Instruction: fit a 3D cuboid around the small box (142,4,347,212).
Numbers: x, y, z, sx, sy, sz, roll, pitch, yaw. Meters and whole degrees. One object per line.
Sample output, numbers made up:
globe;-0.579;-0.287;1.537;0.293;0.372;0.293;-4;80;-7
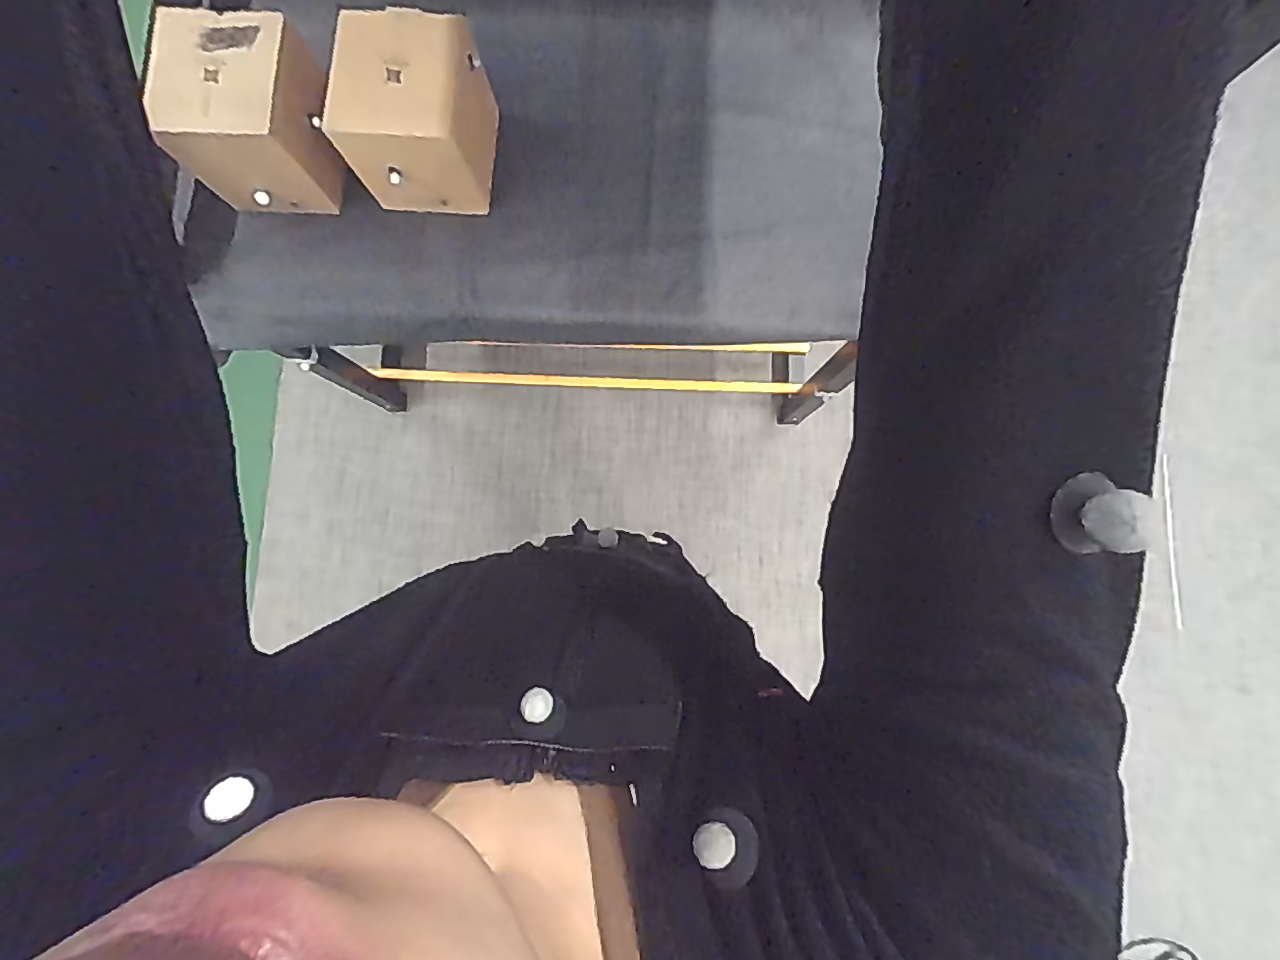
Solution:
small box;-0.539;-0.515;0.766;0.168;0.176;0.179;2;84;0

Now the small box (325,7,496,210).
small box;-0.312;-0.514;0.770;0.168;0.176;0.179;3;83;0
